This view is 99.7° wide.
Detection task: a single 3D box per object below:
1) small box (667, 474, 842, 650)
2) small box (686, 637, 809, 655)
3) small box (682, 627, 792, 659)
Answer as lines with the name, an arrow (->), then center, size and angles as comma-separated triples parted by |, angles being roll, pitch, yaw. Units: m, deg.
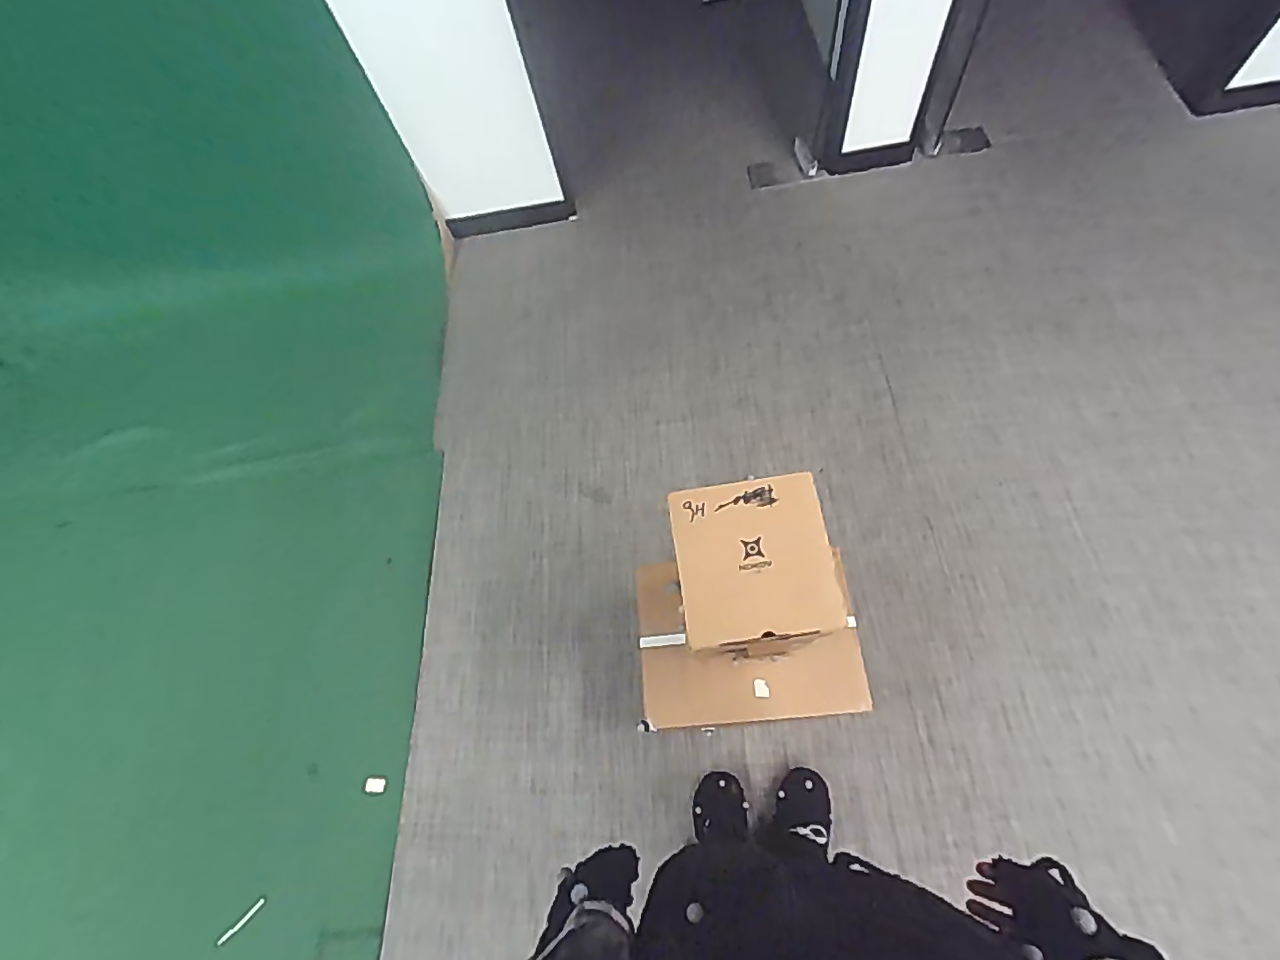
small box -> 0.129, 0.109, 0.664 | 0.168, 0.176, 0.179 | -9, 71, 3
small box -> 0.146, 0.168, 0.816 | 0.168, 0.176, 0.179 | -7, 69, 4
small box -> 0.167, 0.226, 0.963 | 0.179, 0.176, 0.168 | 0, 69, 8
